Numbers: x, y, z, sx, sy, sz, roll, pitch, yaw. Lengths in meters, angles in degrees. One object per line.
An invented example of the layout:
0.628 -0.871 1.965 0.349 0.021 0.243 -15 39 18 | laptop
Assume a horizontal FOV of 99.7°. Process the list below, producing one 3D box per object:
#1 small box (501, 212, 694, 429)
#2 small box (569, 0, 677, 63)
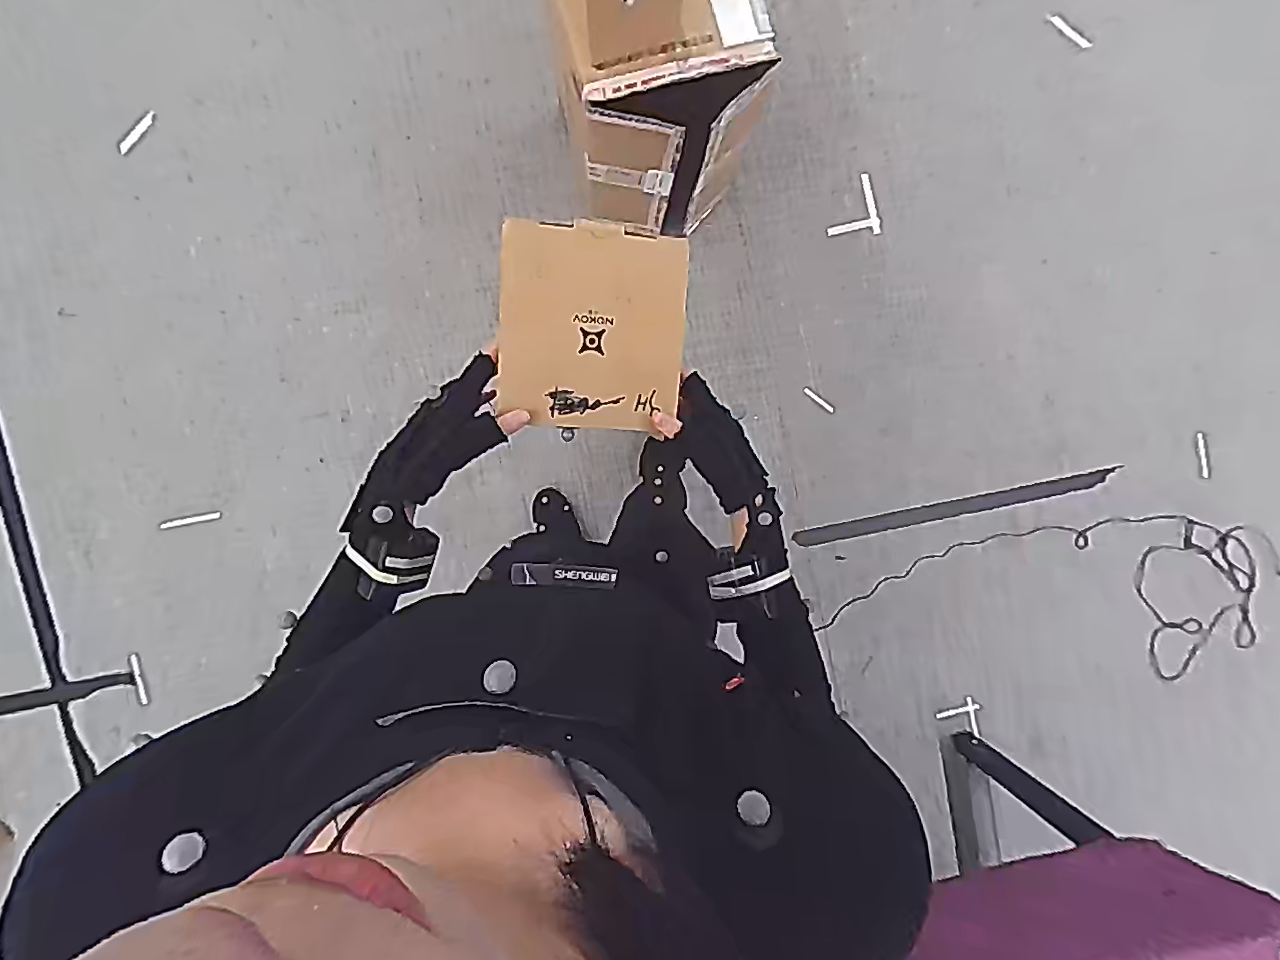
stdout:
-0.051 -0.148 0.558 0.168 0.176 0.179 3 98 -10 | small box
-0.036 -0.870 0.928 0.179 0.176 0.168 -18 91 -3 | small box
